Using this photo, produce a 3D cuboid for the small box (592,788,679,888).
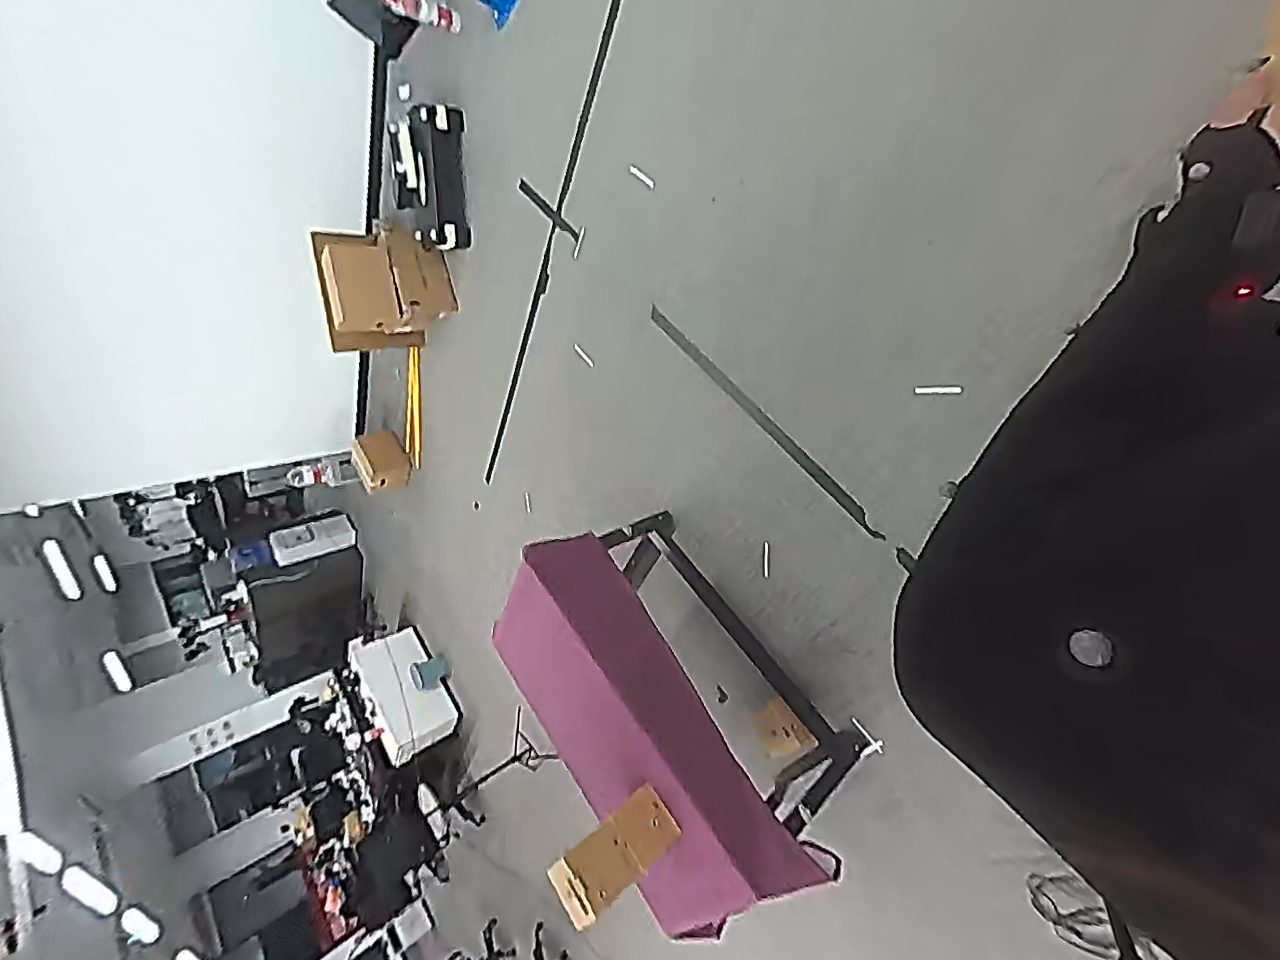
[{"bbox_3d":[-0.012,1.071,1.624,0.168,0.176,0.179,49,133,24],"label":"small box"}]
